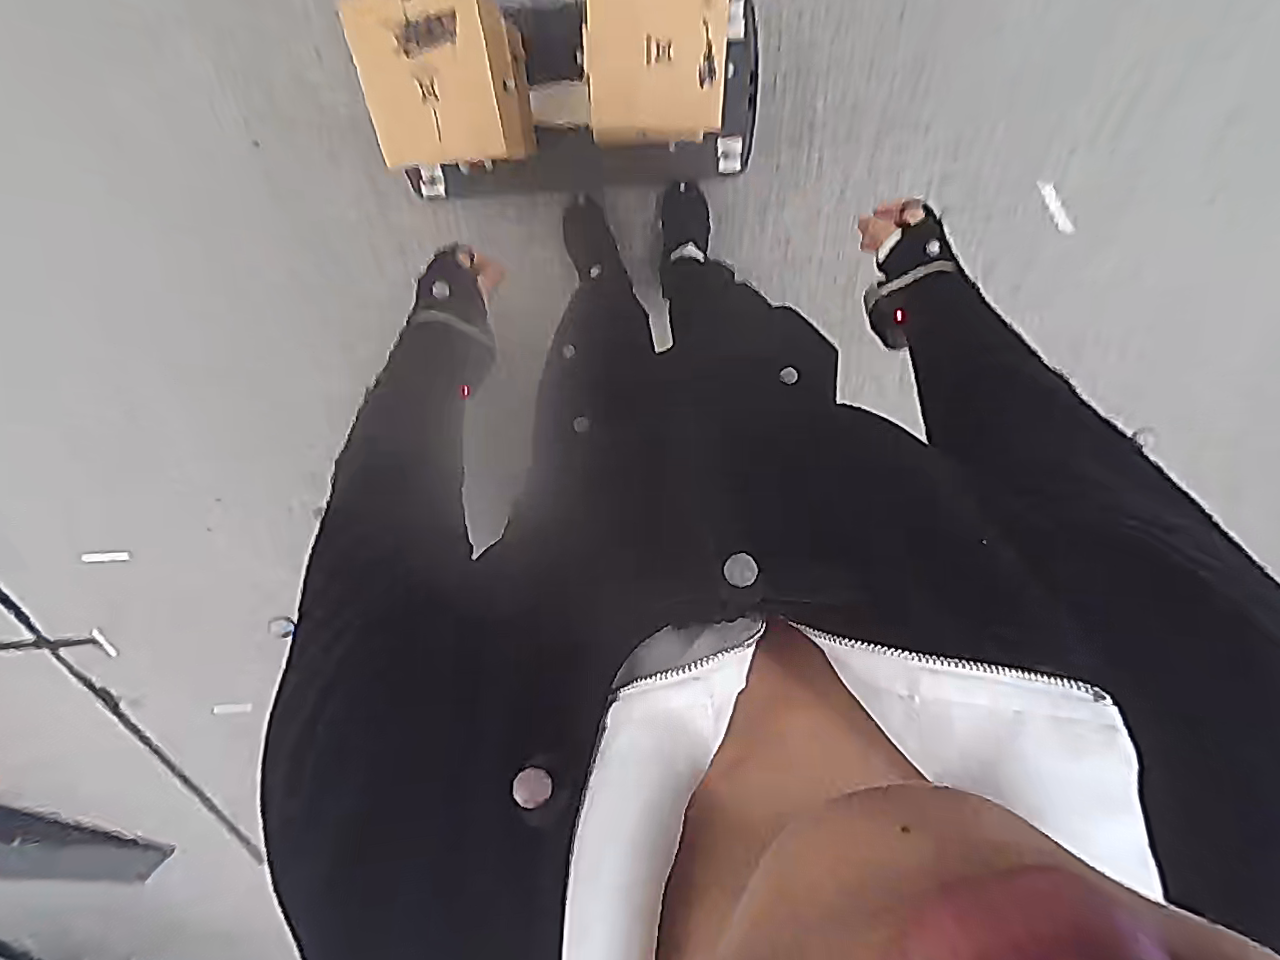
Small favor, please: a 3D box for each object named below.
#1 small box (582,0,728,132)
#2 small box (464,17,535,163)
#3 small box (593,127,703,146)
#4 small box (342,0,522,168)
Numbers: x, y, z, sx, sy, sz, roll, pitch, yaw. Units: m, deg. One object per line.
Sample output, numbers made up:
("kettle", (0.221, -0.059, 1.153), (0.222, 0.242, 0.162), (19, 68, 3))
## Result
("small box", (0.017, -0.574, 0.736), (0.179, 0.176, 0.168), (-1, 123, -1))
("small box", (-0.271, -0.623, 0.882), (0.168, 0.176, 0.179), (-4, 123, 0))
("small box", (0.010, -0.648, 0.883), (0.179, 0.176, 0.168), (-2, 123, 1))
("small box", (-0.266, -0.538, 0.742), (0.168, 0.176, 0.179), (-6, 124, 1))
